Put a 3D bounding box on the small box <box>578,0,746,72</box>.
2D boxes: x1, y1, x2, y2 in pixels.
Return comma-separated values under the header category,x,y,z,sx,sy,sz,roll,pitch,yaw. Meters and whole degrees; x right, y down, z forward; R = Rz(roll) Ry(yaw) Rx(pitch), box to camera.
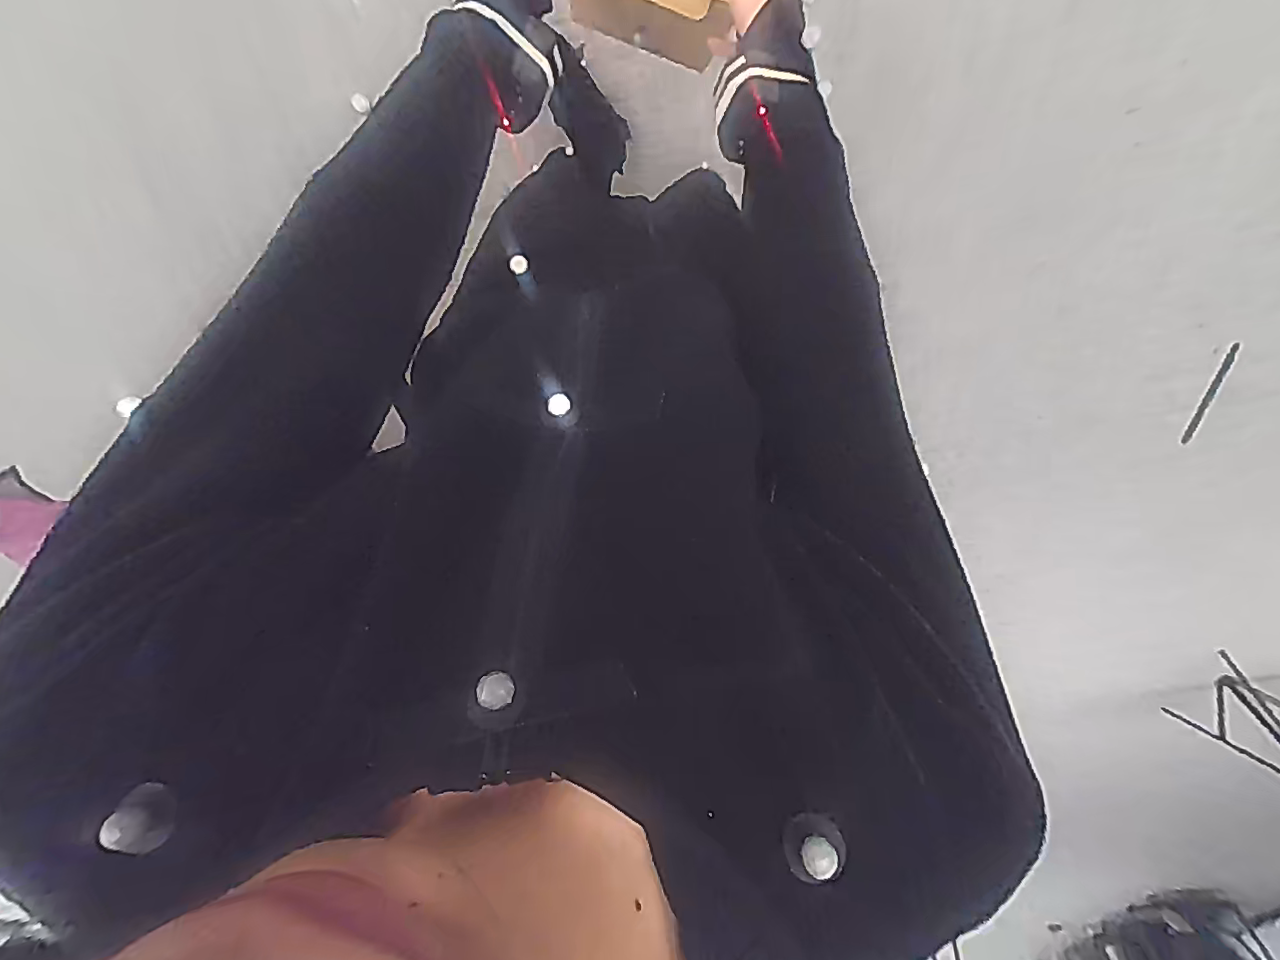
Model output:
category,x,y,z,sx,sy,sz,roll,pitch,yaw
small box,0.033,-0.556,0.536,0.168,0.176,0.179,14,110,-11
